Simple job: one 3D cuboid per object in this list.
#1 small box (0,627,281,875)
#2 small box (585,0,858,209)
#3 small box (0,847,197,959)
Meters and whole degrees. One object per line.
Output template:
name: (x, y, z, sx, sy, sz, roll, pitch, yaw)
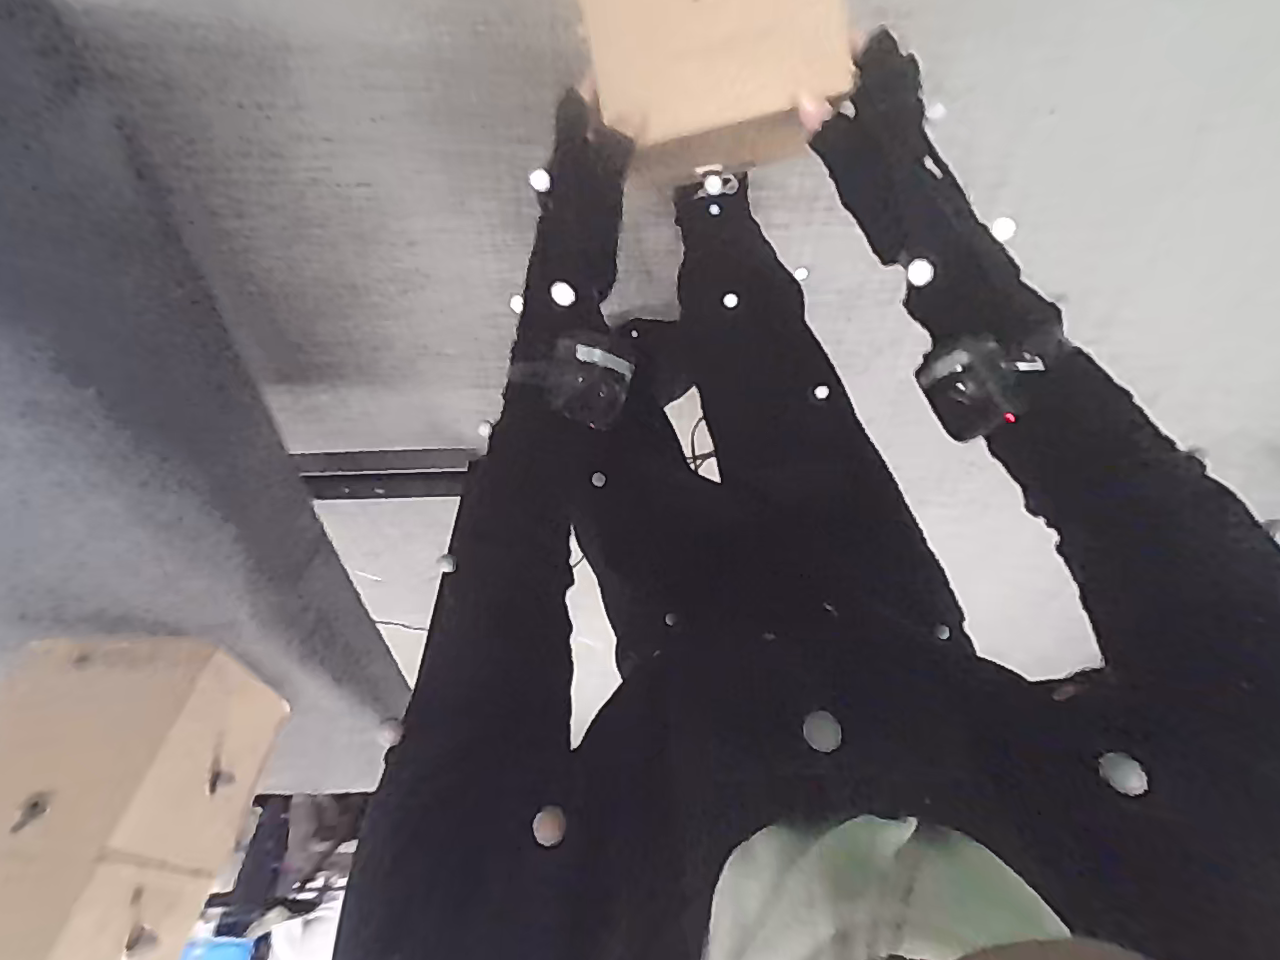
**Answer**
small box: (-0.485, 0.257, 0.509, 0.168, 0.176, 0.179, 3, 138, -2)
small box: (0.057, -0.329, 0.413, 0.168, 0.176, 0.179, -8, 108, 11)
small box: (-0.492, 0.377, 0.396, 0.179, 0.176, 0.168, 3, 137, -3)
